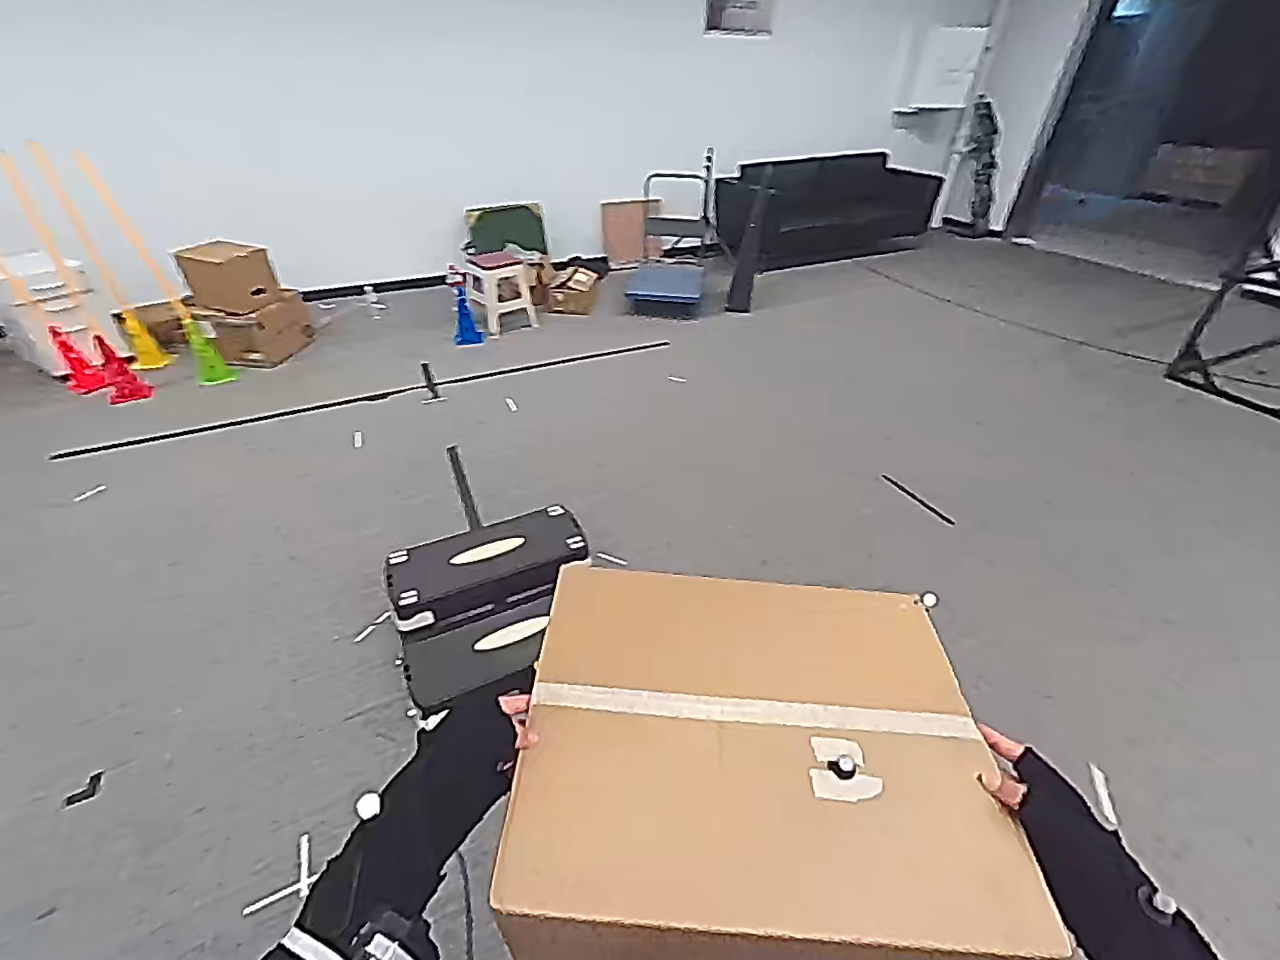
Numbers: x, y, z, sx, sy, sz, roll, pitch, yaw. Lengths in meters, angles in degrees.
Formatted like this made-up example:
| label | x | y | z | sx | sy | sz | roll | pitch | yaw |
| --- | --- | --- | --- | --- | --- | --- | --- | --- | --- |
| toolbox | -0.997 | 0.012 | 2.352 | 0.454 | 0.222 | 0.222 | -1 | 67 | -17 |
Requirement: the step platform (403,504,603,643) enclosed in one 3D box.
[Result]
| label | x | y | z | sx | sy | sz | roll | pitch | yaw |
| --- | --- | --- | --- | --- | --- | --- | --- | --- | --- |
| step platform | -0.481 | 0.314 | 1.945 | 0.684 | 0.204 | 0.286 | -17 | 40 | -23 |

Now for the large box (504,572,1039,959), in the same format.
| label | x | y | z | sx | sy | sz | roll | pitch | yaw |
| --- | --- | --- | --- | --- | --- | --- | --- | --- | --- |
| large box | 0.090 | 0.328 | 0.598 | 0.408 | 0.320 | 0.320 | 4 | 40 | -1 |
